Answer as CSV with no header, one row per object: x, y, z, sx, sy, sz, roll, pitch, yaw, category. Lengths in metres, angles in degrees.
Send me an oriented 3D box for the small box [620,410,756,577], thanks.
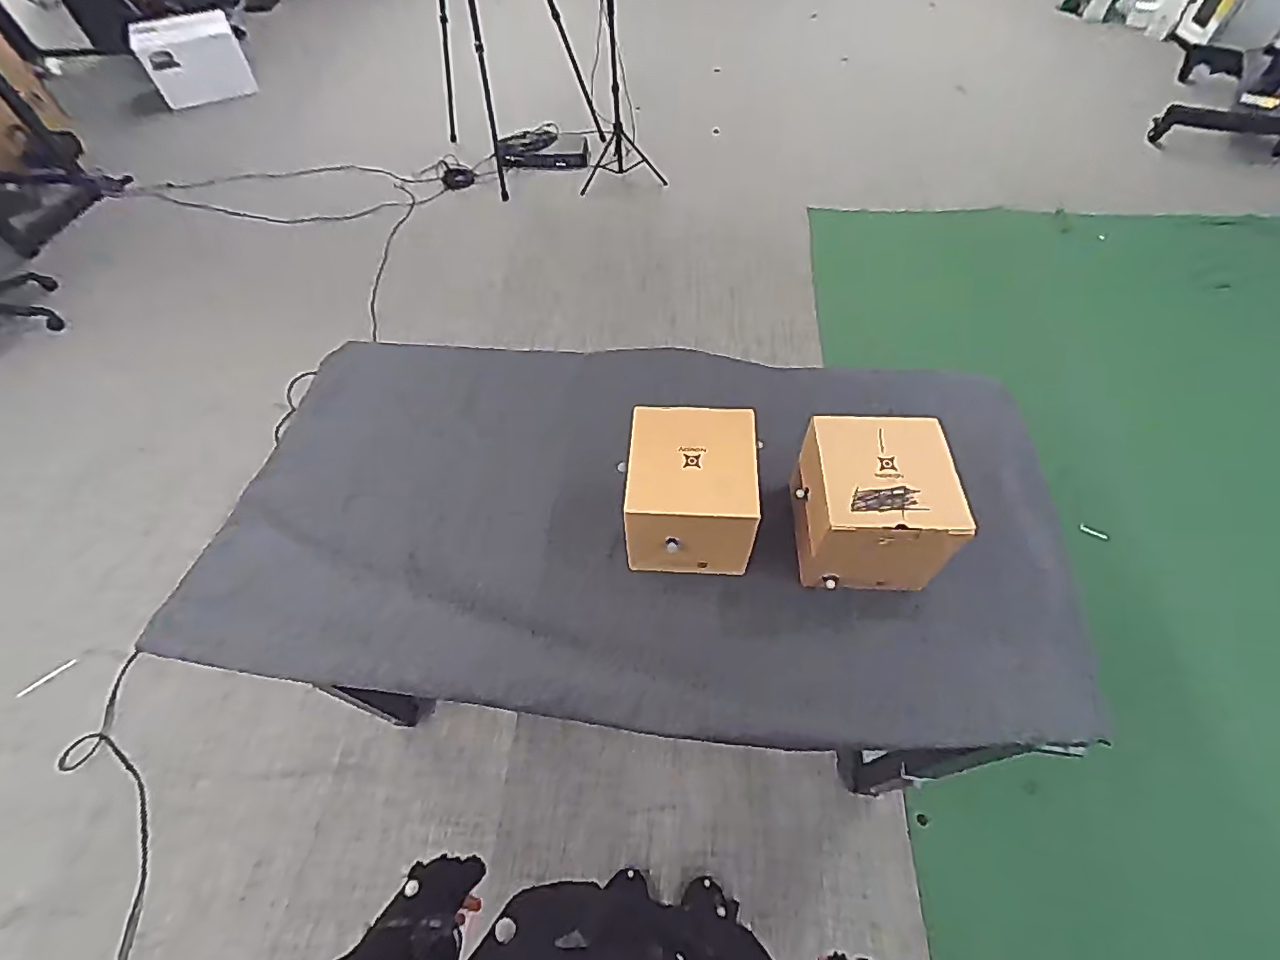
0.068,0.023,0.753,0.168,0.176,0.179,2,54,4,small box

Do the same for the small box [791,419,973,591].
0.307,0.038,0.729,0.168,0.176,0.179,2,54,4,small box
